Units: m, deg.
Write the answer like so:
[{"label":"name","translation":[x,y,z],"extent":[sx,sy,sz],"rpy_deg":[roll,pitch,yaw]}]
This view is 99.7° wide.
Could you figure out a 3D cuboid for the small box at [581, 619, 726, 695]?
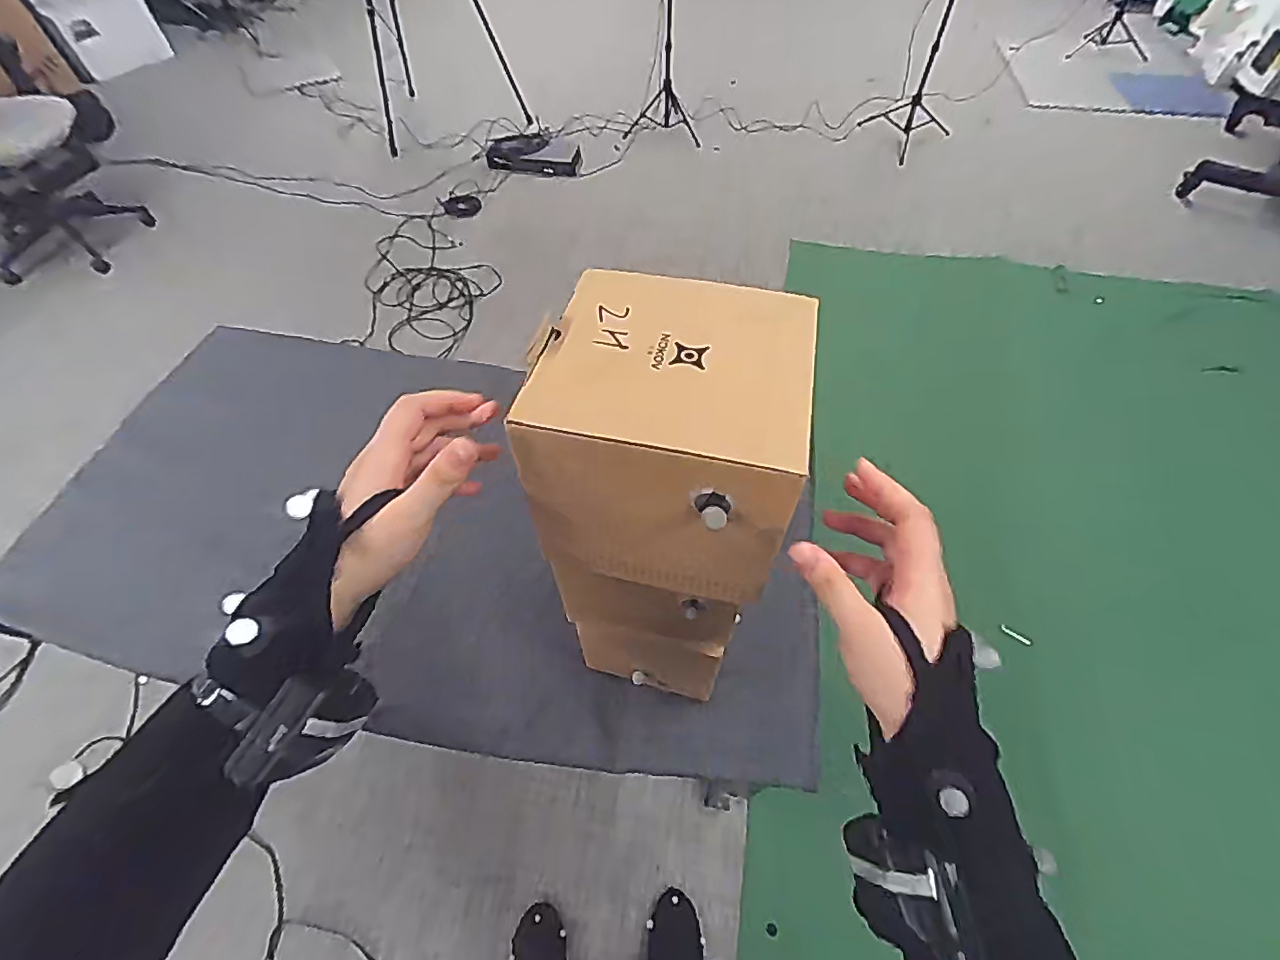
[{"label":"small box","translation":[0.027,0.143,0.679],"extent":[0.168,0.176,0.179],"rpy_deg":[12,55,11]}]

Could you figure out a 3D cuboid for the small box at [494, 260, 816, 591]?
[{"label":"small box","translation":[0.020,-0.035,0.404],"extent":[0.179,0.176,0.168],"rpy_deg":[10,53,9]}]

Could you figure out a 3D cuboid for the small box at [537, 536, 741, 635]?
[{"label":"small box","translation":[0.014,0.045,0.551],"extent":[0.179,0.176,0.168],"rpy_deg":[5,52,7]}]
